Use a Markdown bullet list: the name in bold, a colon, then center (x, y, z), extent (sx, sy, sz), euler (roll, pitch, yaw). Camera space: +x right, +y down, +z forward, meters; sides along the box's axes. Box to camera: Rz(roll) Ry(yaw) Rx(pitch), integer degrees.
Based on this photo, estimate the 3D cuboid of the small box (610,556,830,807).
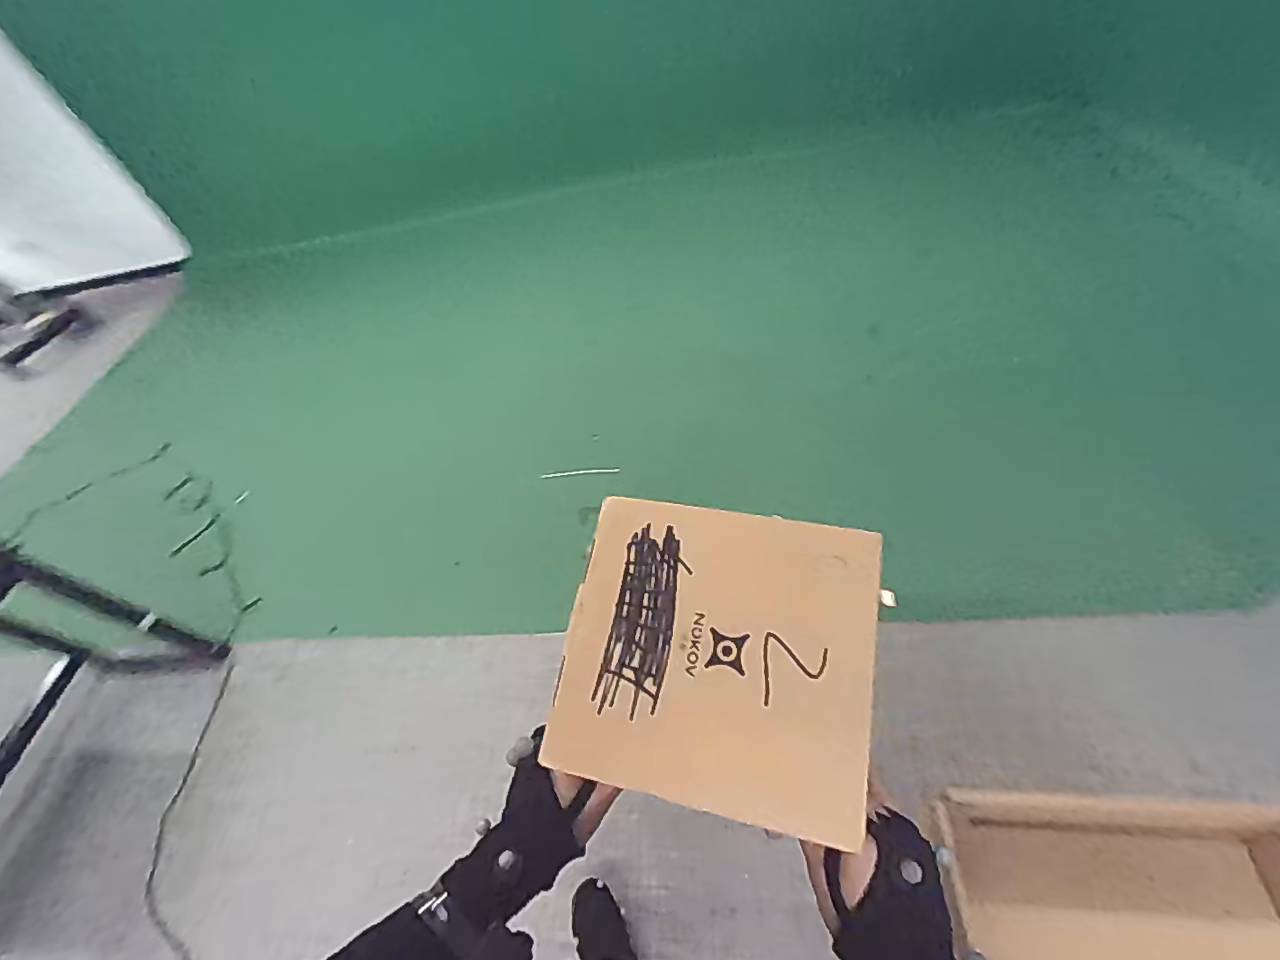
- **small box**: center (0.085, 0.193, 0.532), extent (0.168, 0.176, 0.179), euler (7, 68, 16)
